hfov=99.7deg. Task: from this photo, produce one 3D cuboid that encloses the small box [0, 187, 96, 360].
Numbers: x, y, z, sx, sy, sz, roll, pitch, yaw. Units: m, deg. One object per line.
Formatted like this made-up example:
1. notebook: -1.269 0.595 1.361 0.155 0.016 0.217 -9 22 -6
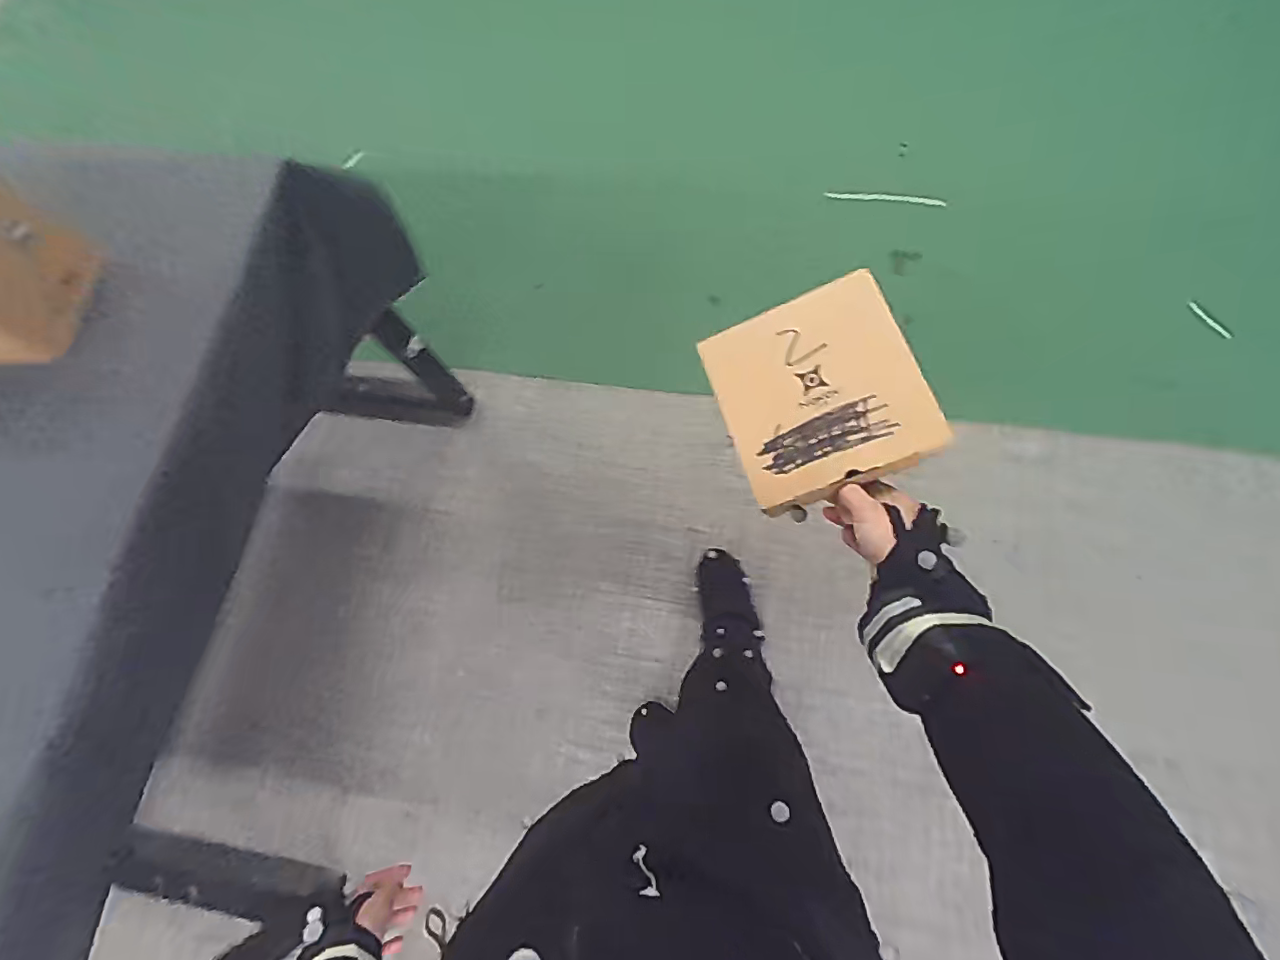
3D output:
1. small box: -0.796 -0.249 0.615 0.179 0.176 0.168 -1 72 6
